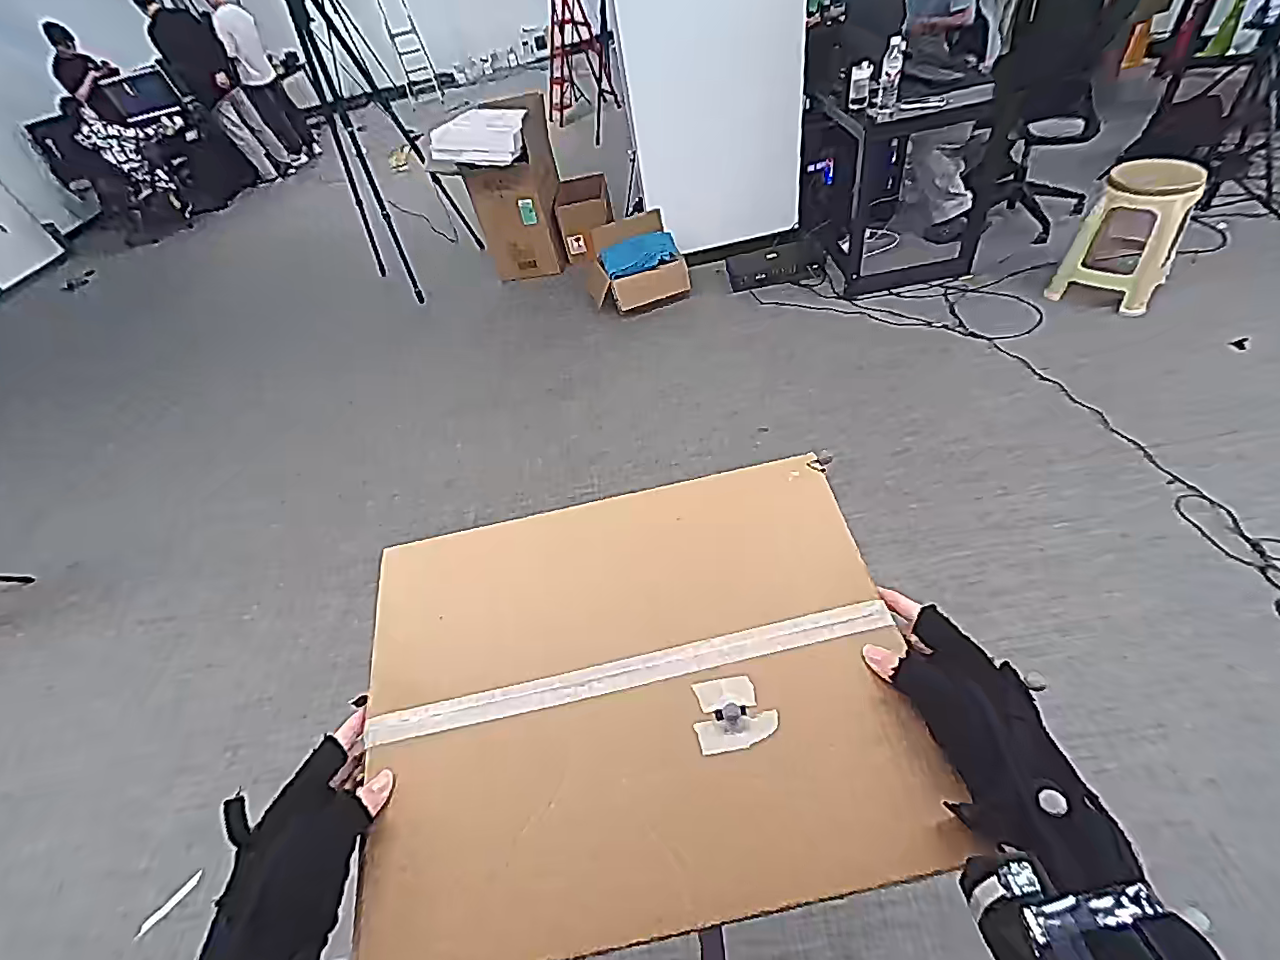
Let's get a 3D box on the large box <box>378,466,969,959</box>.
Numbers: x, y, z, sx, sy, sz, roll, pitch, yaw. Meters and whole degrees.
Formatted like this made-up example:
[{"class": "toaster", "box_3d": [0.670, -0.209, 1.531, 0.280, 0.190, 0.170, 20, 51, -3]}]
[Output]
[{"class": "large box", "box_3d": [0.011, 0.235, 0.553, 0.408, 0.320, 0.320, -13, 57, -1]}]
